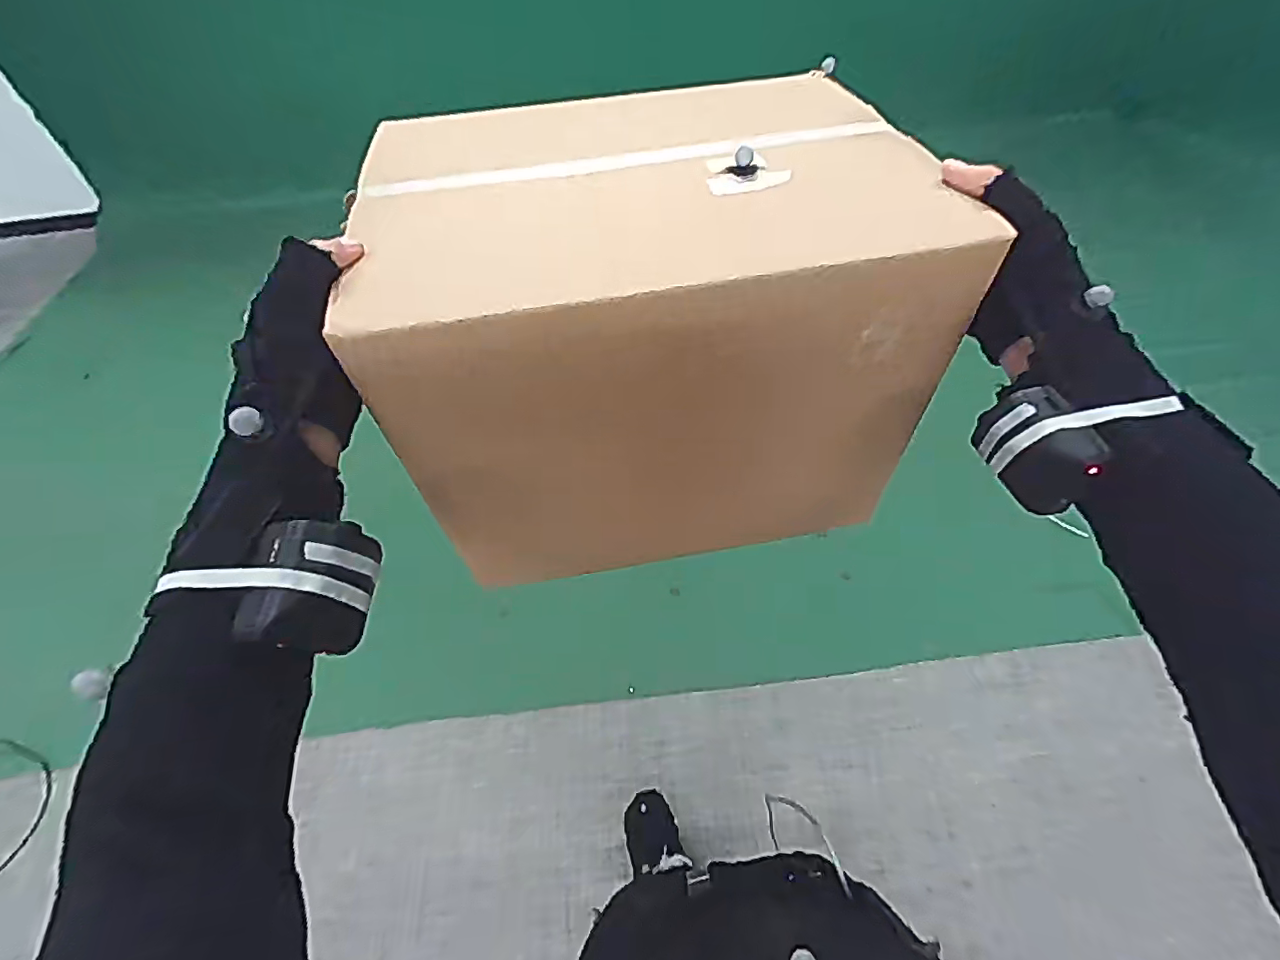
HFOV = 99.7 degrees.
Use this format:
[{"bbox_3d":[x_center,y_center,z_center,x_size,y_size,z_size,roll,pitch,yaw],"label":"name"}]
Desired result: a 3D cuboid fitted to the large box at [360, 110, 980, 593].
[{"bbox_3d":[0.004,-0.125,0.537,0.408,0.320,0.320,-10,52,-5],"label":"large box"}]
